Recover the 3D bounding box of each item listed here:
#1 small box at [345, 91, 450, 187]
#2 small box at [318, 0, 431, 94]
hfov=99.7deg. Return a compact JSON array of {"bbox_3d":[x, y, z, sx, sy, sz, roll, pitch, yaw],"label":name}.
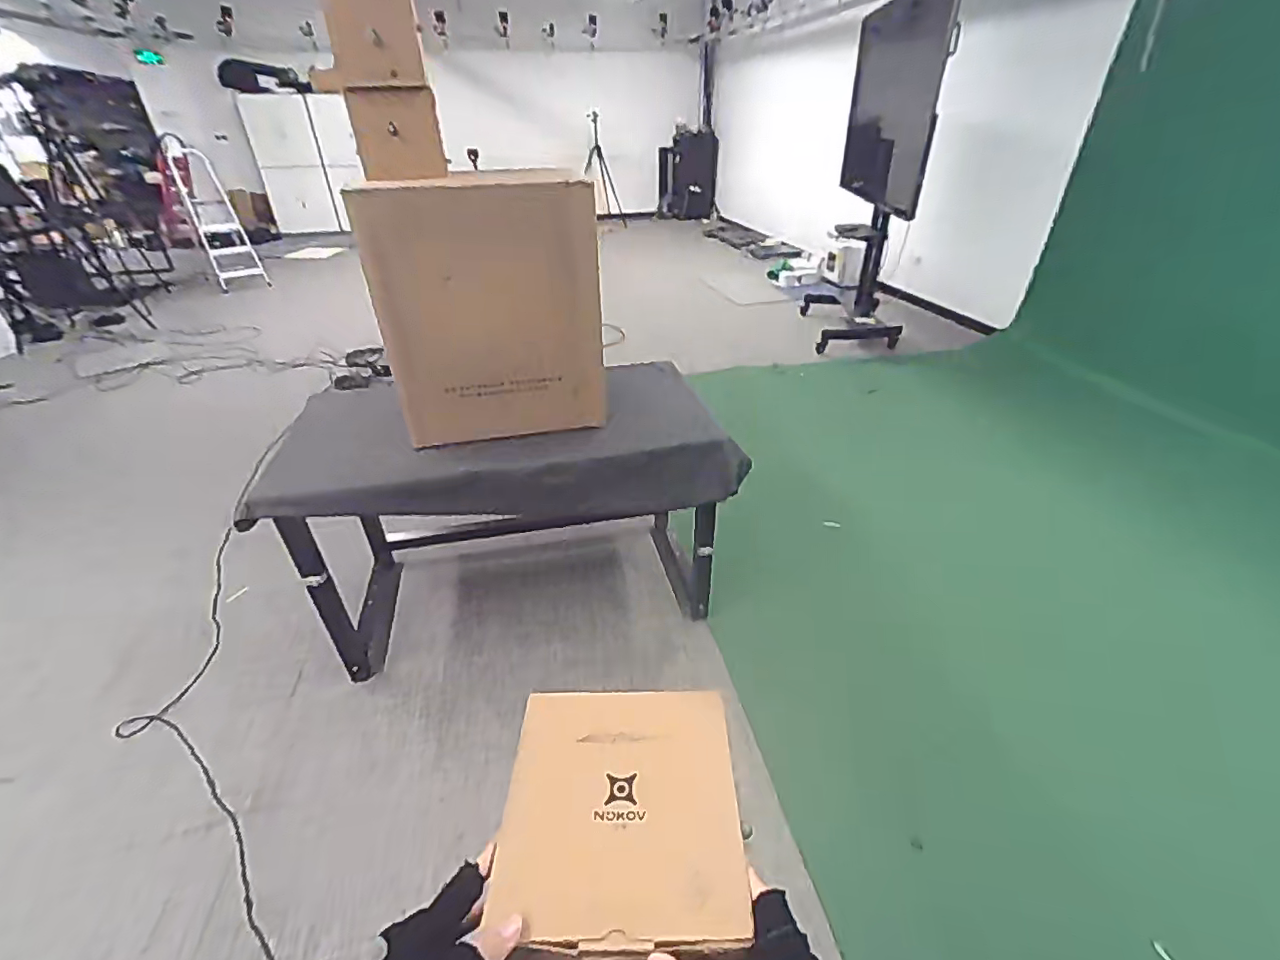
[{"bbox_3d":[-0.533,-0.770,1.217,0.179,0.176,0.168,-11,37,-12],"label":"small box"},{"bbox_3d":[-0.536,-0.897,1.114,0.168,0.176,0.179,-11,37,-12],"label":"small box"}]
